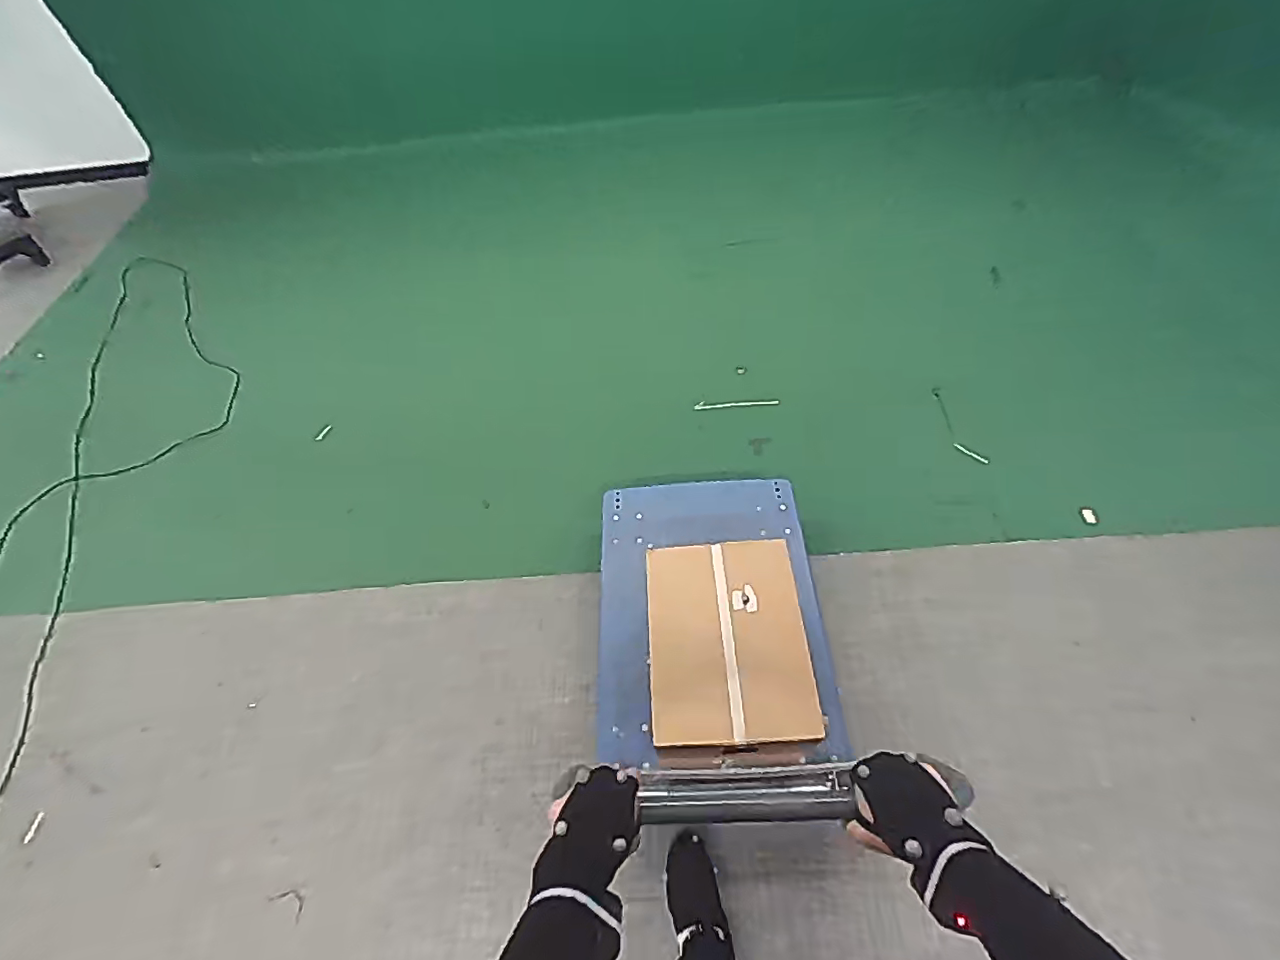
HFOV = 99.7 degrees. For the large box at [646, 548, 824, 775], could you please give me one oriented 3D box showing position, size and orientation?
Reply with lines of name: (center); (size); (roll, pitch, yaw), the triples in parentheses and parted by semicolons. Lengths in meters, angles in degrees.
large box: (0.191, 0.412, 1.220); (0.320, 0.320, 0.408); (-5, 54, 3)
